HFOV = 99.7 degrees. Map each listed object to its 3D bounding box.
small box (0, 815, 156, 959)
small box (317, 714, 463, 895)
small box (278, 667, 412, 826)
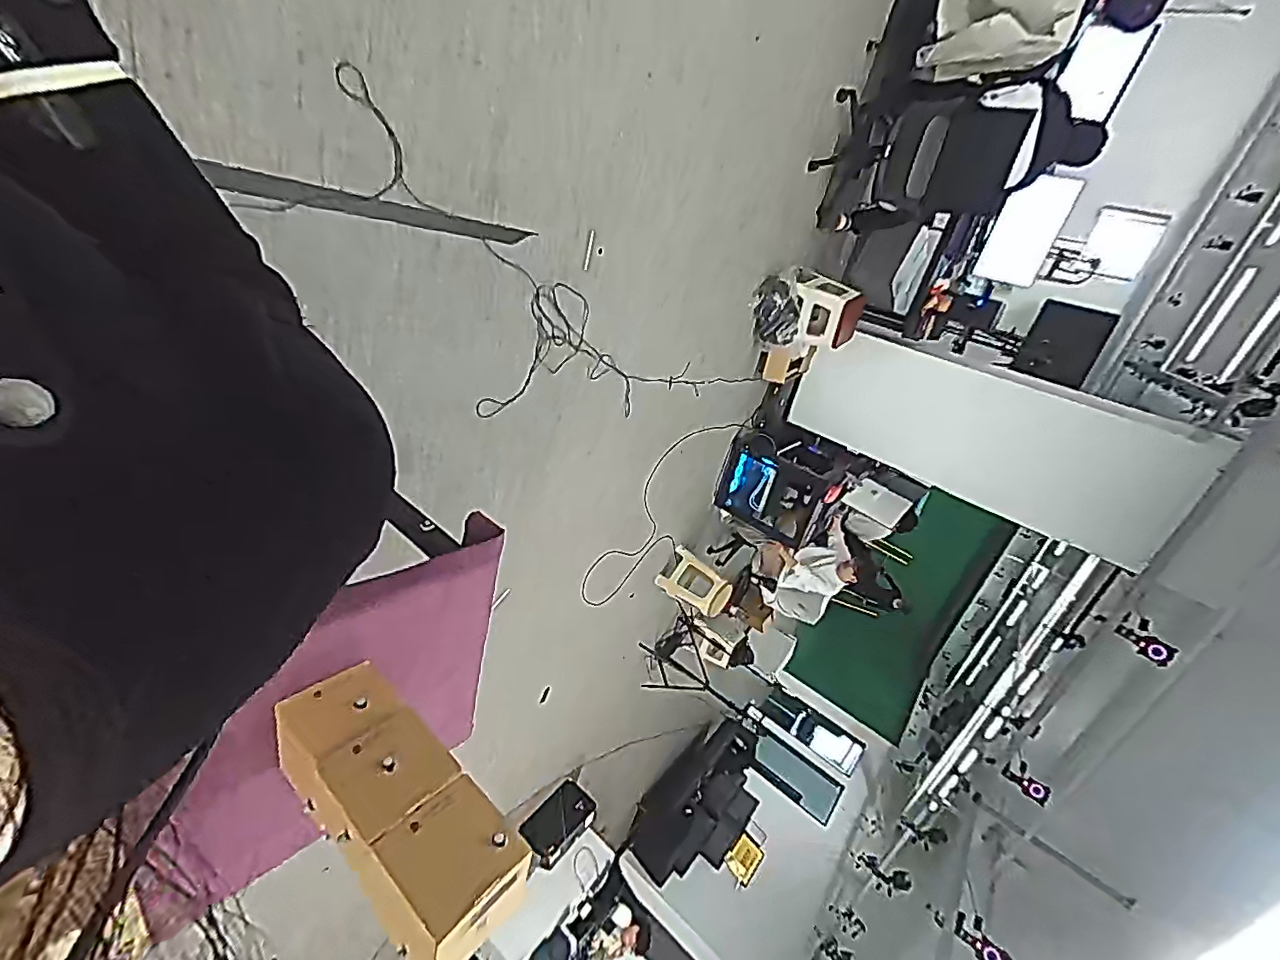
[{"bbox_3d":[-0.790,0.596,0.723,0.168,0.176,0.179,-19,132,-50],"label":"small box"},{"bbox_3d":[-0.422,0.533,0.917,0.168,0.176,0.179,-25,136,-47],"label":"small box"},{"bbox_3d":[-0.549,0.479,1.007,0.168,0.176,0.179,-20,133,-50],"label":"small box"}]
